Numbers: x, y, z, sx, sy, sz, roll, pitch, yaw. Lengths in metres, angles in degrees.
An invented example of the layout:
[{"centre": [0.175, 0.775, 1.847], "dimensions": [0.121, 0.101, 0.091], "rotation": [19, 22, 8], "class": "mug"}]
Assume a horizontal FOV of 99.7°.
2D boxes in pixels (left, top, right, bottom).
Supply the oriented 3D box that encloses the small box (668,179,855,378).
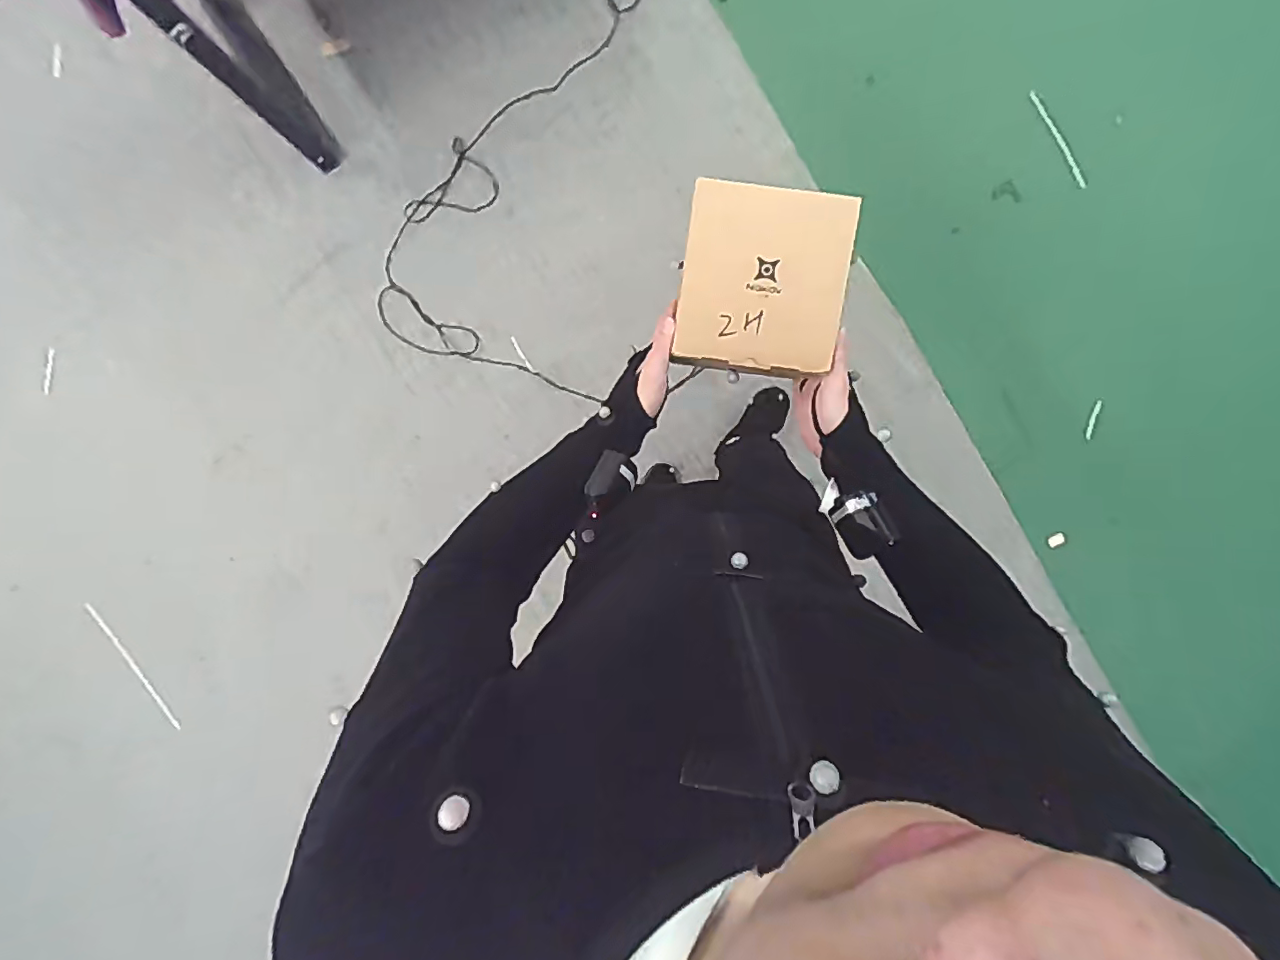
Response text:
[{"centre": [0.124, -0.217, 0.627], "dimensions": [0.168, 0.176, 0.179], "rotation": [7, 101, 0], "class": "small box"}]
